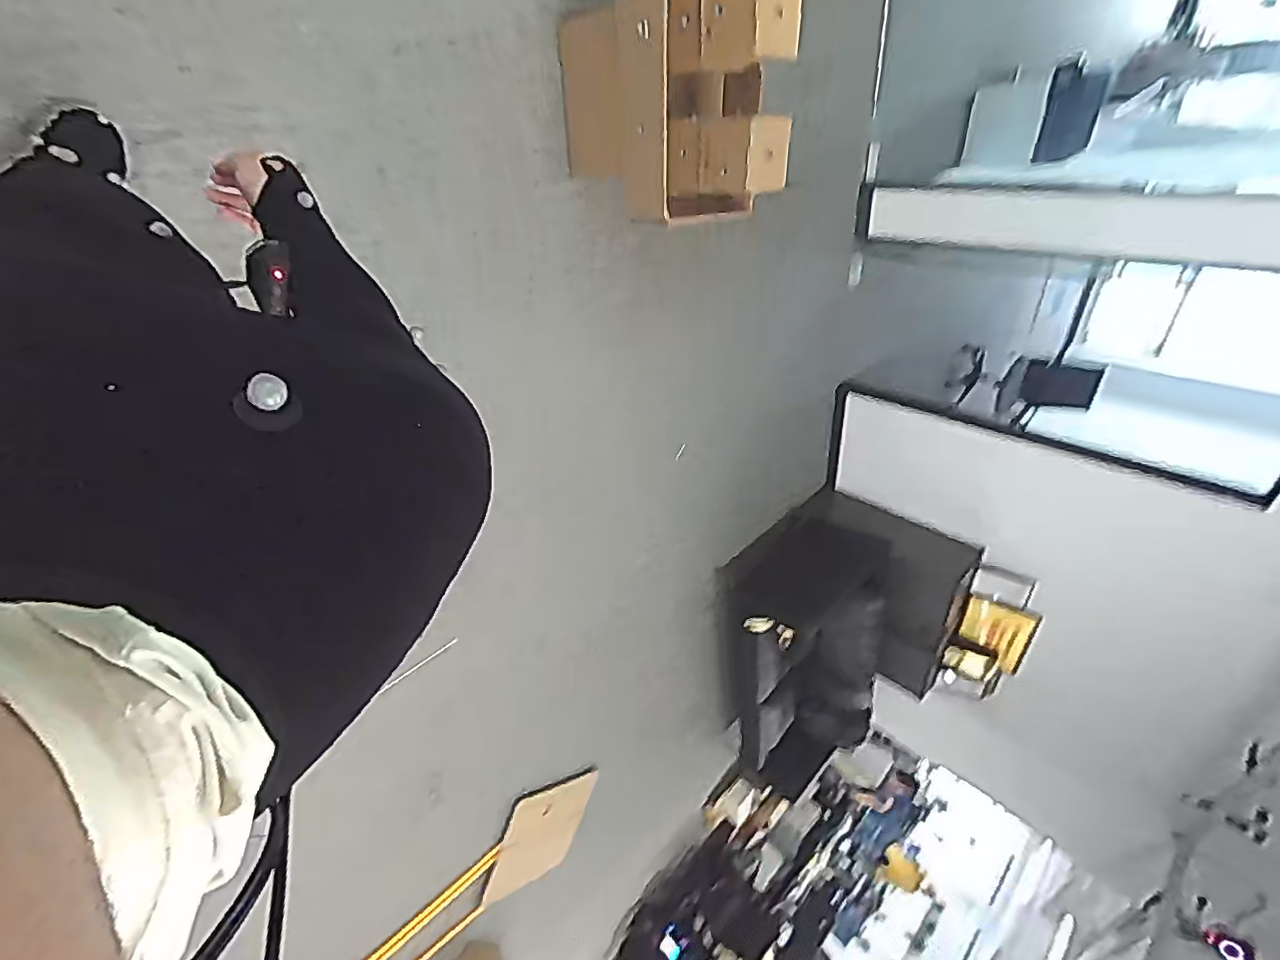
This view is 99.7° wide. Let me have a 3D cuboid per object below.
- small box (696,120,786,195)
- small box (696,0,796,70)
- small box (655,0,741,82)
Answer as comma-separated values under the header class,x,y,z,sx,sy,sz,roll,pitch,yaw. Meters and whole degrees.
class,x,y,z,sx,sy,sz,roll,pitch,yaw
small box,0.265,-0.863,1.453,0.179,0.176,0.168,-28,131,-36
small box,0.255,-1.104,1.305,0.179,0.176,0.168,-29,131,-33
small box,0.151,-1.164,1.415,0.168,0.176,0.179,-29,130,-34
